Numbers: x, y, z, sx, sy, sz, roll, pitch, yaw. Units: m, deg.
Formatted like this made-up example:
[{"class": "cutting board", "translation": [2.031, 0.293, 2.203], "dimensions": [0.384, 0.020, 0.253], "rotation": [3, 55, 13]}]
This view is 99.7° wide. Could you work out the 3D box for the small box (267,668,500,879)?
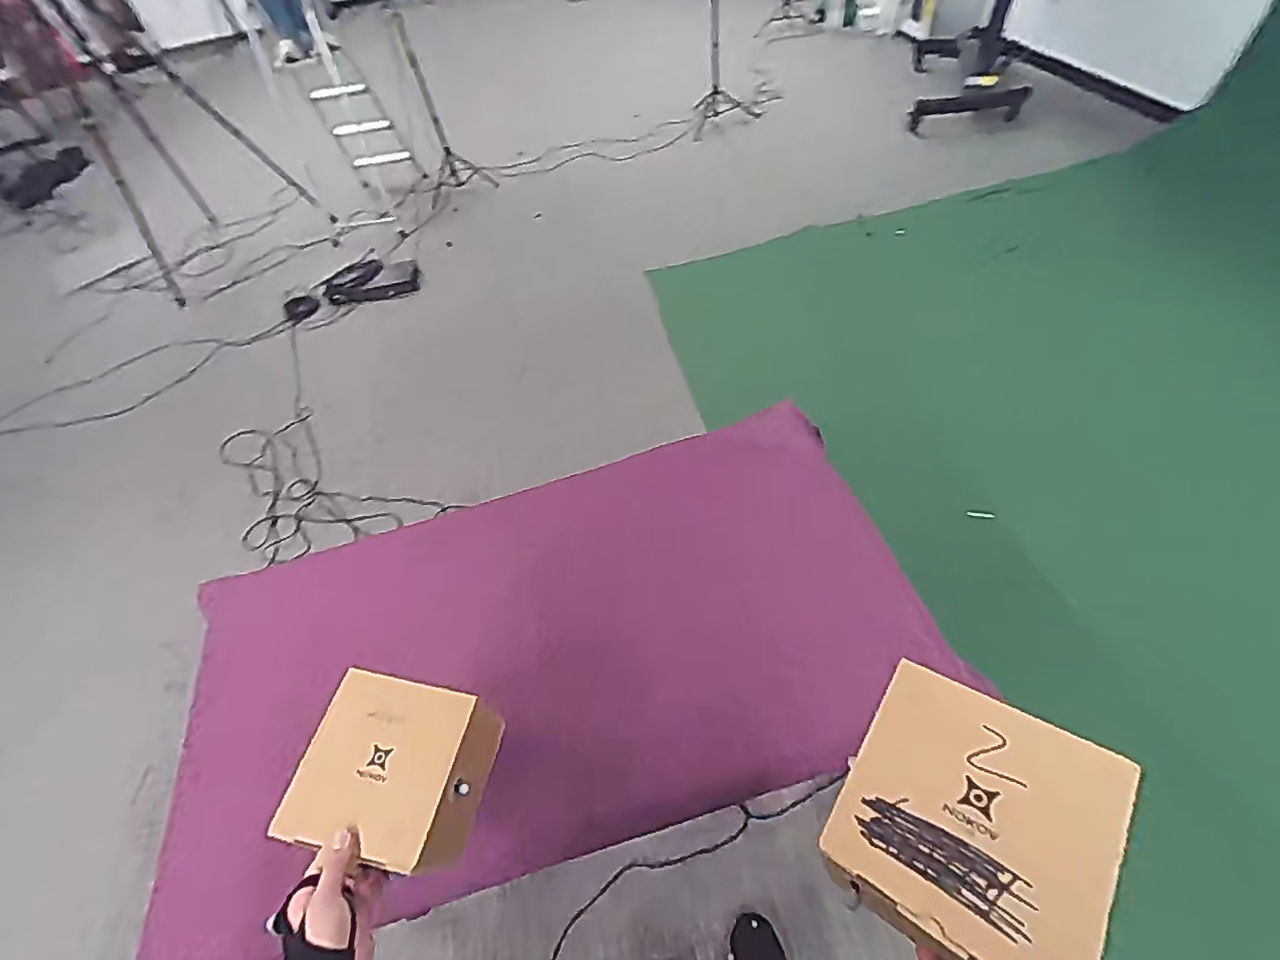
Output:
[{"class": "small box", "translation": [-0.287, 0.356, 0.656], "dimensions": [0.168, 0.176, 0.179], "rotation": [11, 55, 8]}]
